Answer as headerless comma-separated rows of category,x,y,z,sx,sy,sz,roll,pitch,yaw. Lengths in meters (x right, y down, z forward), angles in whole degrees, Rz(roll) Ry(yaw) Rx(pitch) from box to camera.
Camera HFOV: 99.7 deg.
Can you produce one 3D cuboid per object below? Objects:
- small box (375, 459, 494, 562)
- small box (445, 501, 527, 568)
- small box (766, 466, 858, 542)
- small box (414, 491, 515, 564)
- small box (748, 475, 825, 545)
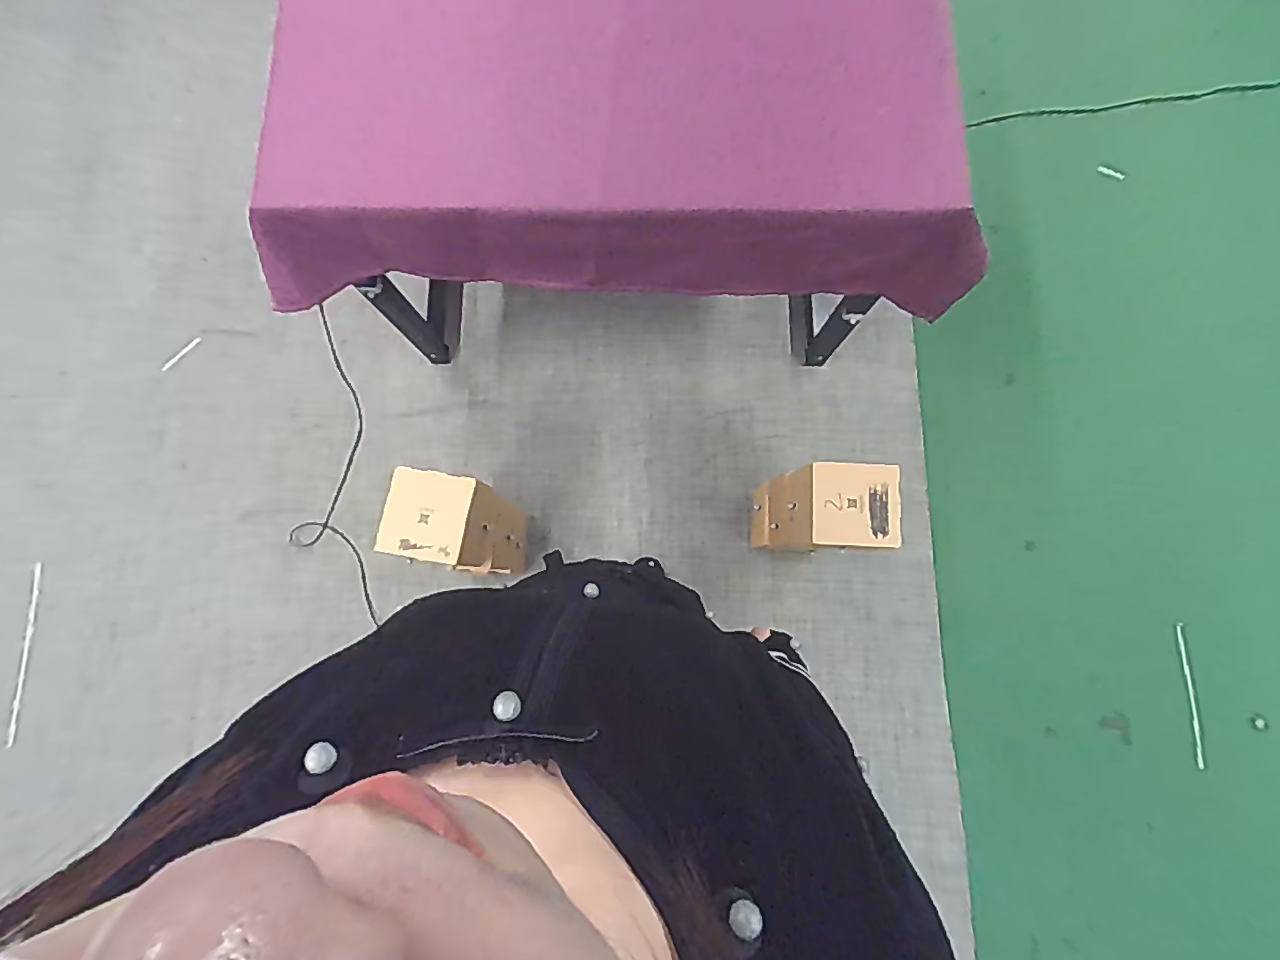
small box,-0.419,0.070,1.135,0.168,0.176,0.179,10,80,2
small box,-0.407,0.144,1.457,0.168,0.176,0.179,4,80,0
small box,0.408,0.064,1.310,0.179,0.176,0.168,2,82,-1
small box,-0.413,0.109,1.296,0.179,0.176,0.168,7,81,0
small box,0.398,0.088,1.471,0.179,0.176,0.168,4,81,0
